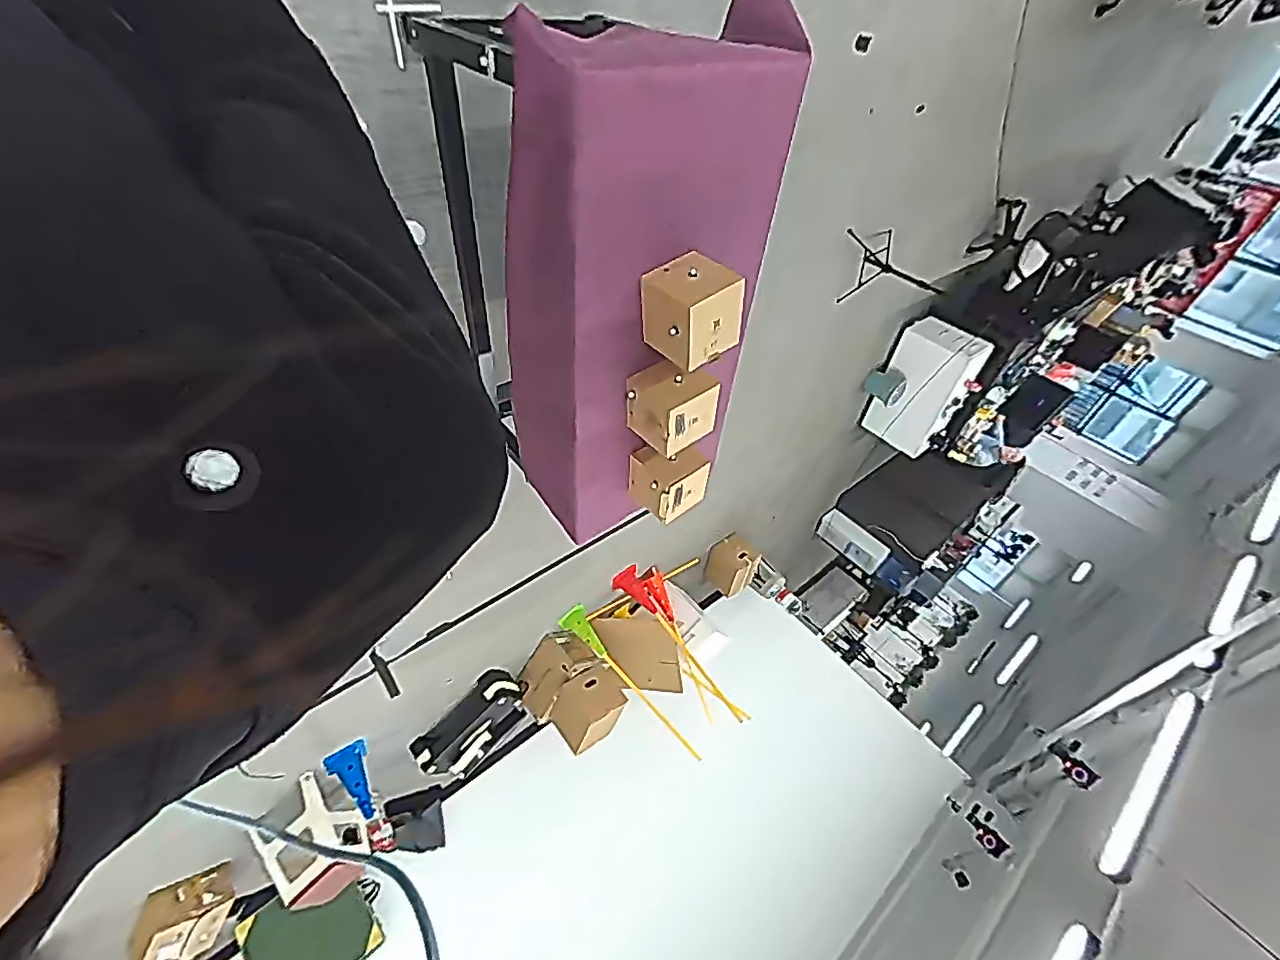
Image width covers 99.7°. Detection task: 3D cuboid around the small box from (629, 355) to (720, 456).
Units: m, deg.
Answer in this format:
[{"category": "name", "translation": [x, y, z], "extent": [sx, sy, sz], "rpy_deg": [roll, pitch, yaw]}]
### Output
[{"category": "small box", "translation": [0.085, -0.202, 1.432], "extent": [0.179, 0.176, 0.168], "rpy_deg": [-32, 146, -26]}]

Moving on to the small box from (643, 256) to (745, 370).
[{"category": "small box", "translation": [0.119, -0.395, 1.252], "extent": [0.168, 0.176, 0.179], "rpy_deg": [-33, 147, -22]}]
